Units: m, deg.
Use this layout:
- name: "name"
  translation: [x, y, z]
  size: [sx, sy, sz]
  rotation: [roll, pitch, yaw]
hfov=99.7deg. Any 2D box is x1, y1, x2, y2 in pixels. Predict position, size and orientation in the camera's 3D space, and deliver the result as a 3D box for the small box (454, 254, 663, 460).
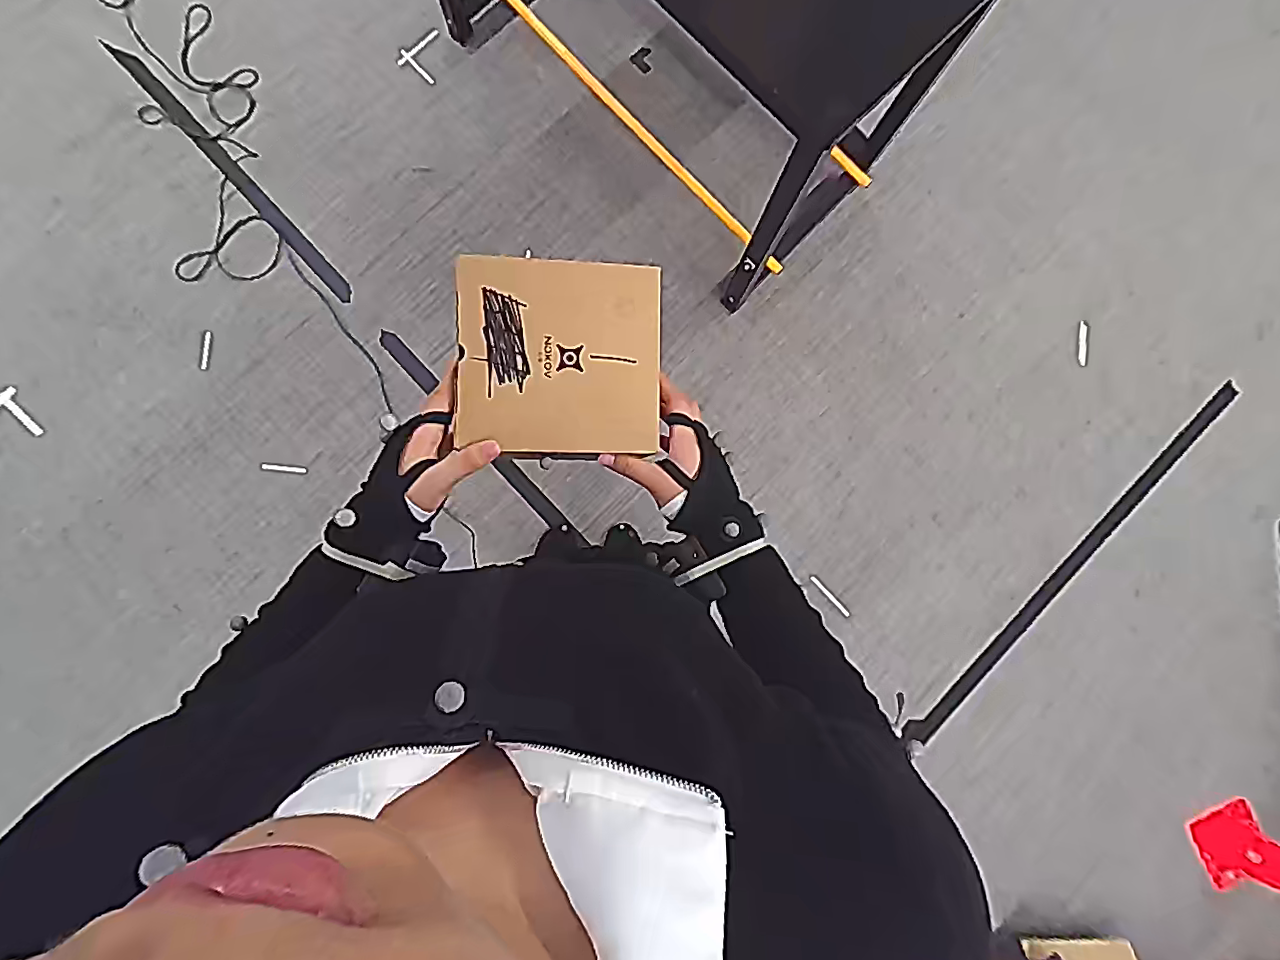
- name: "small box"
  translation: [-0.078, -0.106, 0.538]
  size: [0.179, 0.176, 0.168]
  rotation: [1, 90, -8]
